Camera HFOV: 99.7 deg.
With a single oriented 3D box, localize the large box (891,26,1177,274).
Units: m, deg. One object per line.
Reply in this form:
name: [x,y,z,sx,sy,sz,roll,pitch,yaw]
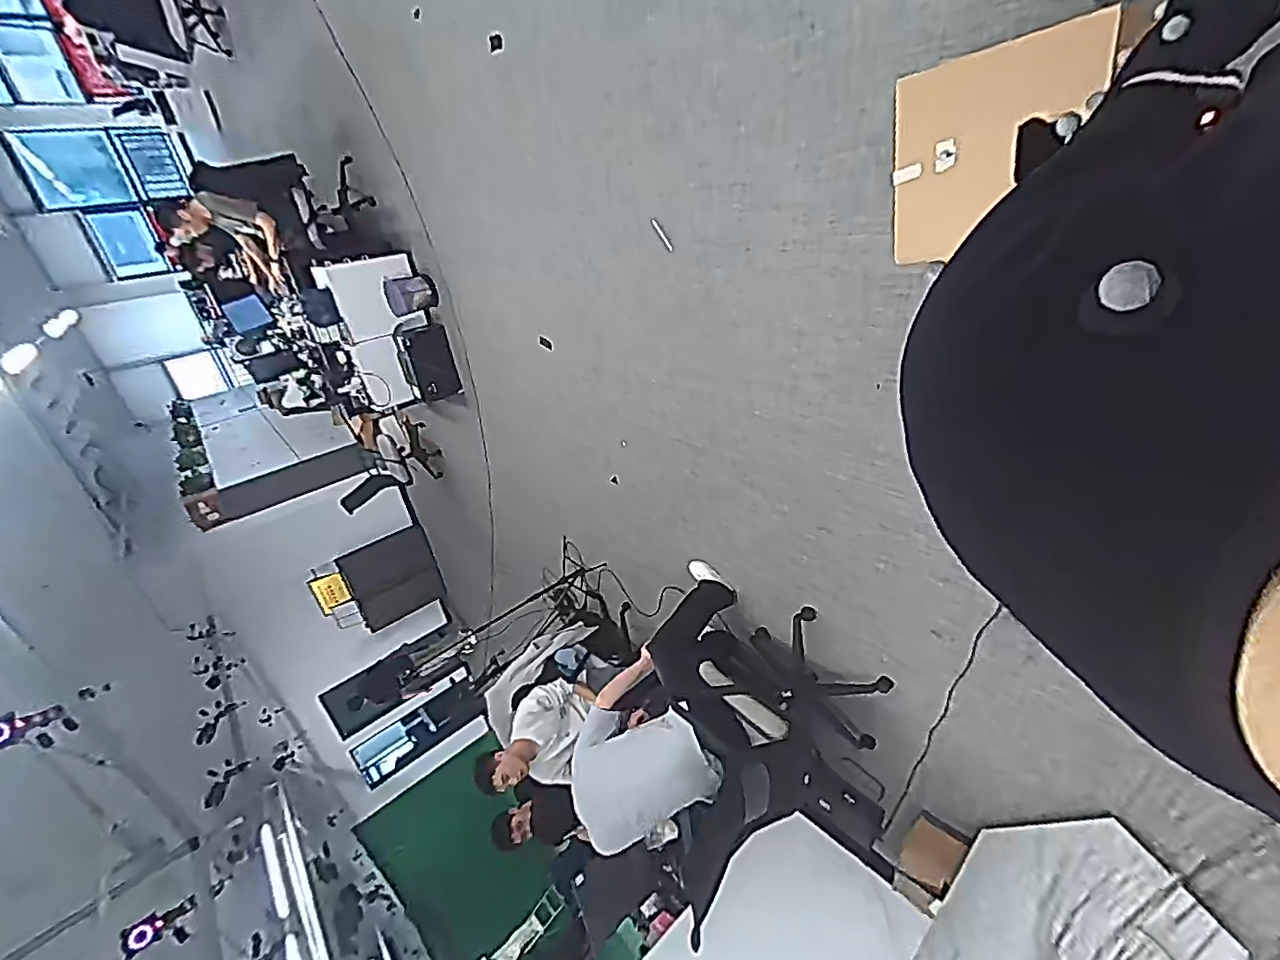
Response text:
large box: [0.717,-0.596,1.010,0.320,0.408,0.320,21,130,48]
